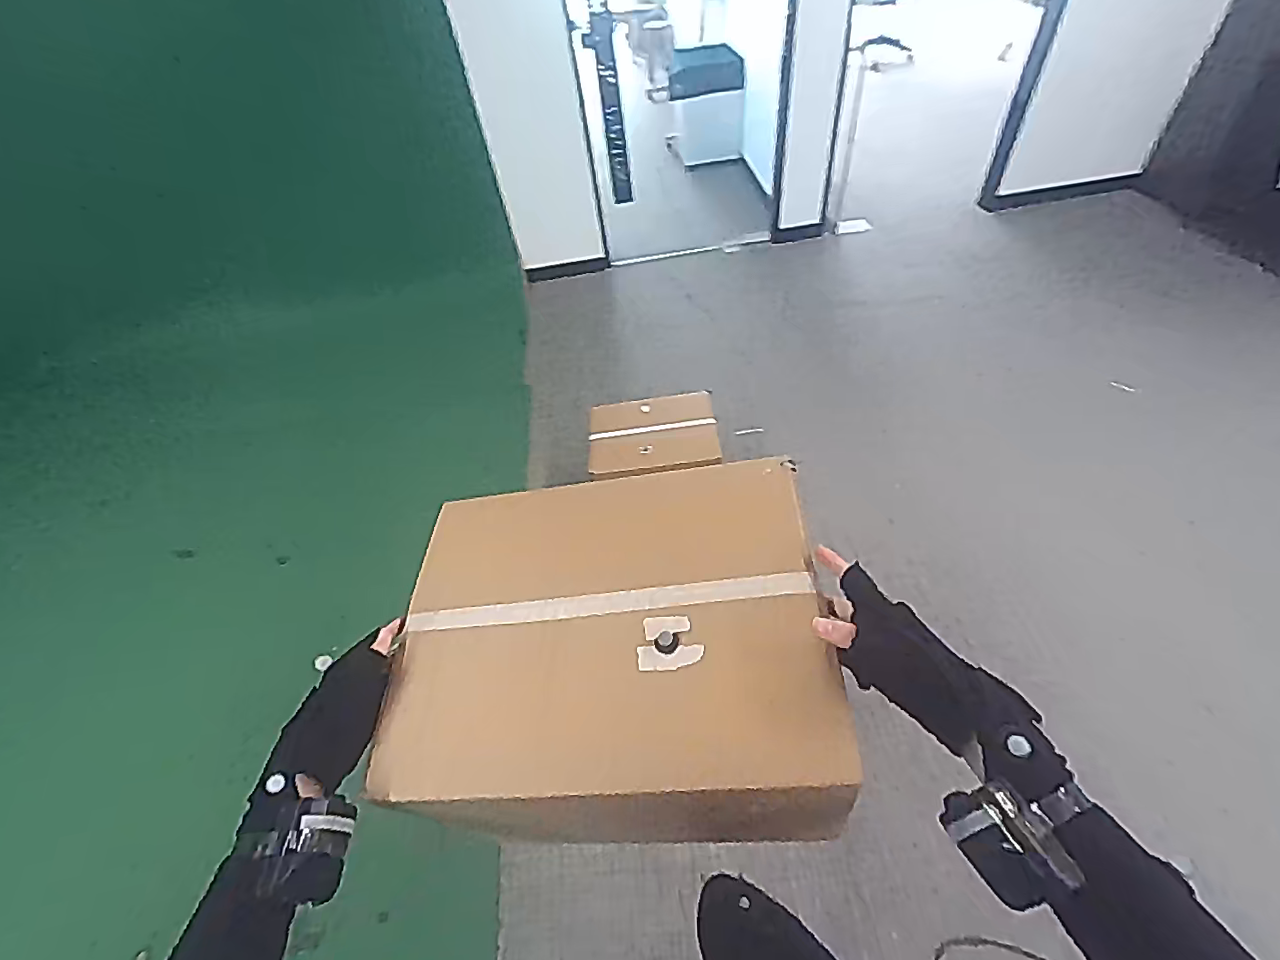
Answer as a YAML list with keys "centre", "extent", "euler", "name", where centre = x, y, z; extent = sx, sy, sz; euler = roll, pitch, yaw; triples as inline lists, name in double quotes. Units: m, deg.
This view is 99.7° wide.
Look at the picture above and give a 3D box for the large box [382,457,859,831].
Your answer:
- centre: [-0.001, 0.208, 0.639]
  extent: [0.408, 0.320, 0.320]
  euler: [-6, 51, 9]
  name: "large box"
